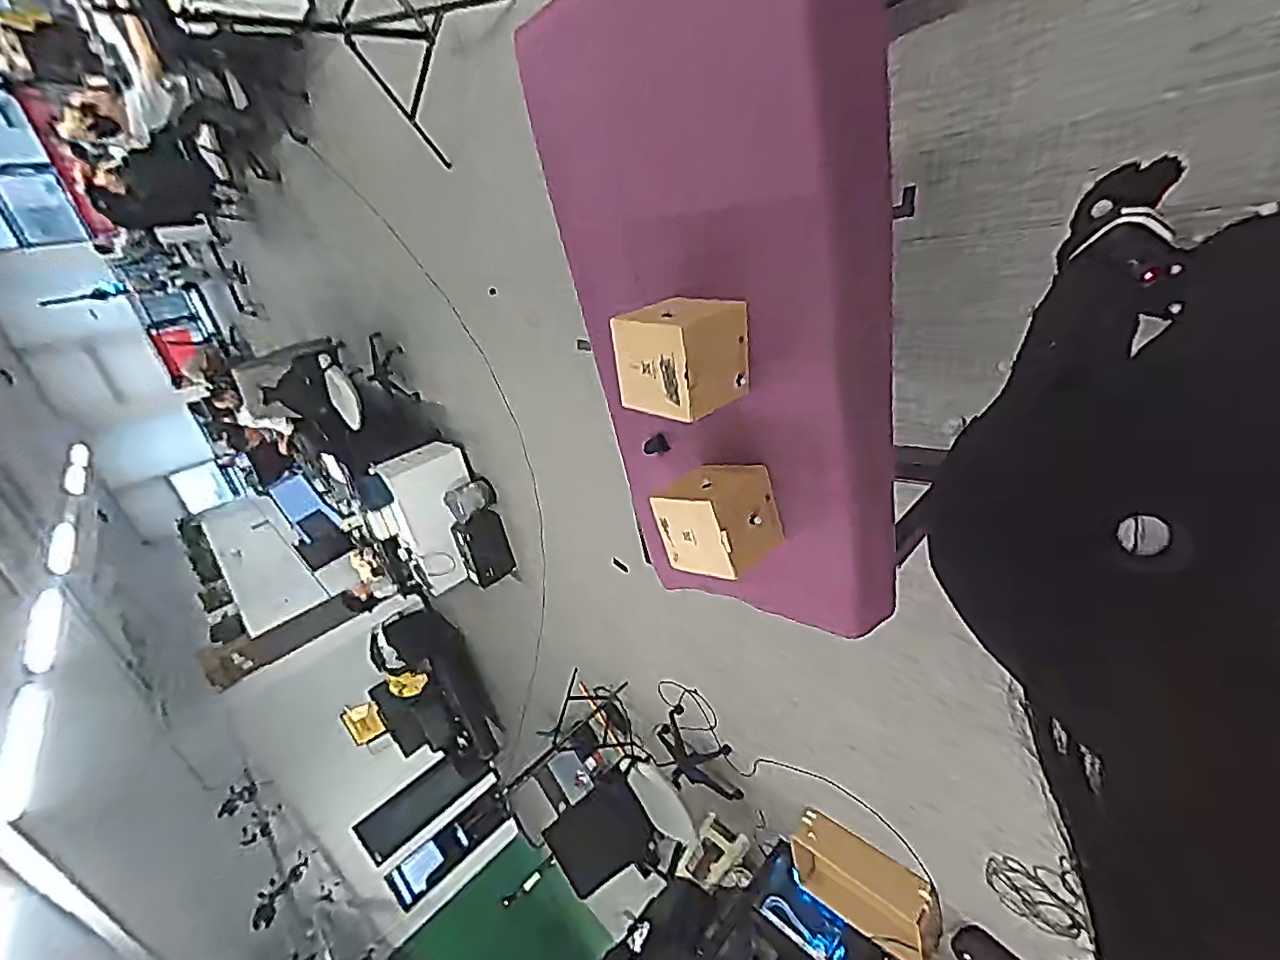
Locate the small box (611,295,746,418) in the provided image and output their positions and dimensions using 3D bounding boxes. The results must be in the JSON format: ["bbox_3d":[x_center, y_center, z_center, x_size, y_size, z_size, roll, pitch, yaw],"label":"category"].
[{"bbox_3d":[0.077,-0.229,0.967,0.179,0.176,0.168,22,130,43],"label":"small box"}]

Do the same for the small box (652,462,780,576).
[{"bbox_3d":[0.159,0.069,1.080,0.179,0.176,0.168,1,115,50],"label":"small box"}]
